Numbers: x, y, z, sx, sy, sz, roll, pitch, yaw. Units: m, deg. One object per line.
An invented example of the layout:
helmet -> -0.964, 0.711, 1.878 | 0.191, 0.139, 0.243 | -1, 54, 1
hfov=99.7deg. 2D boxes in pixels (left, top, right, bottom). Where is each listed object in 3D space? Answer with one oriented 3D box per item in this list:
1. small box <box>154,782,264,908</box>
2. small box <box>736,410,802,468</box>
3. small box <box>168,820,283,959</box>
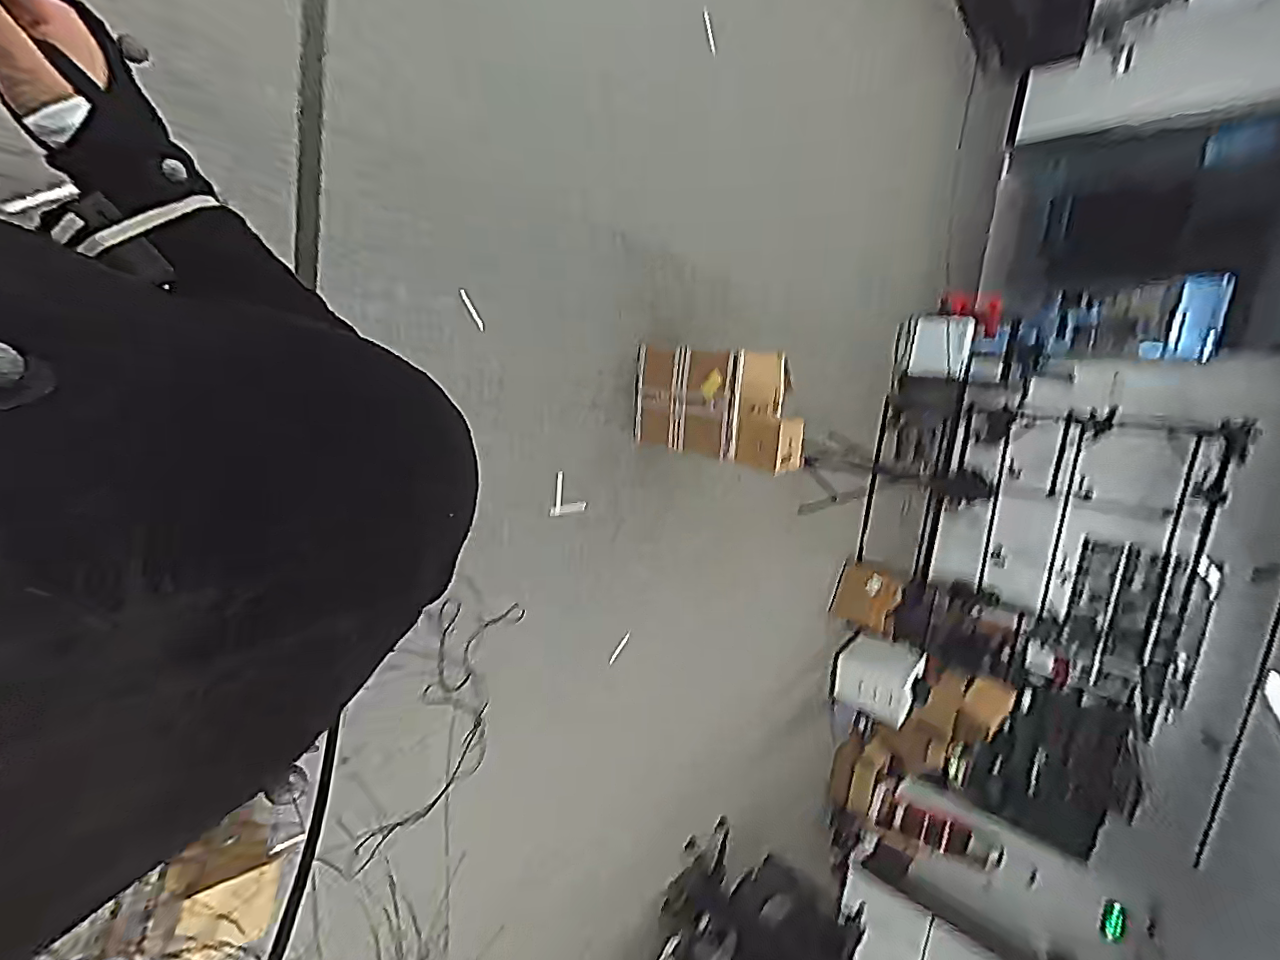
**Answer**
small box -> -1.028, 0.866, 1.291 | 0.179, 0.176, 0.168 | -4, 103, -49
small box -> 0.466, -0.155, 1.968 | 0.168, 0.176, 0.179 | -13, 111, -44
small box -> -0.909, 0.898, 1.182 | 0.168, 0.176, 0.179 | 2, 97, -50
